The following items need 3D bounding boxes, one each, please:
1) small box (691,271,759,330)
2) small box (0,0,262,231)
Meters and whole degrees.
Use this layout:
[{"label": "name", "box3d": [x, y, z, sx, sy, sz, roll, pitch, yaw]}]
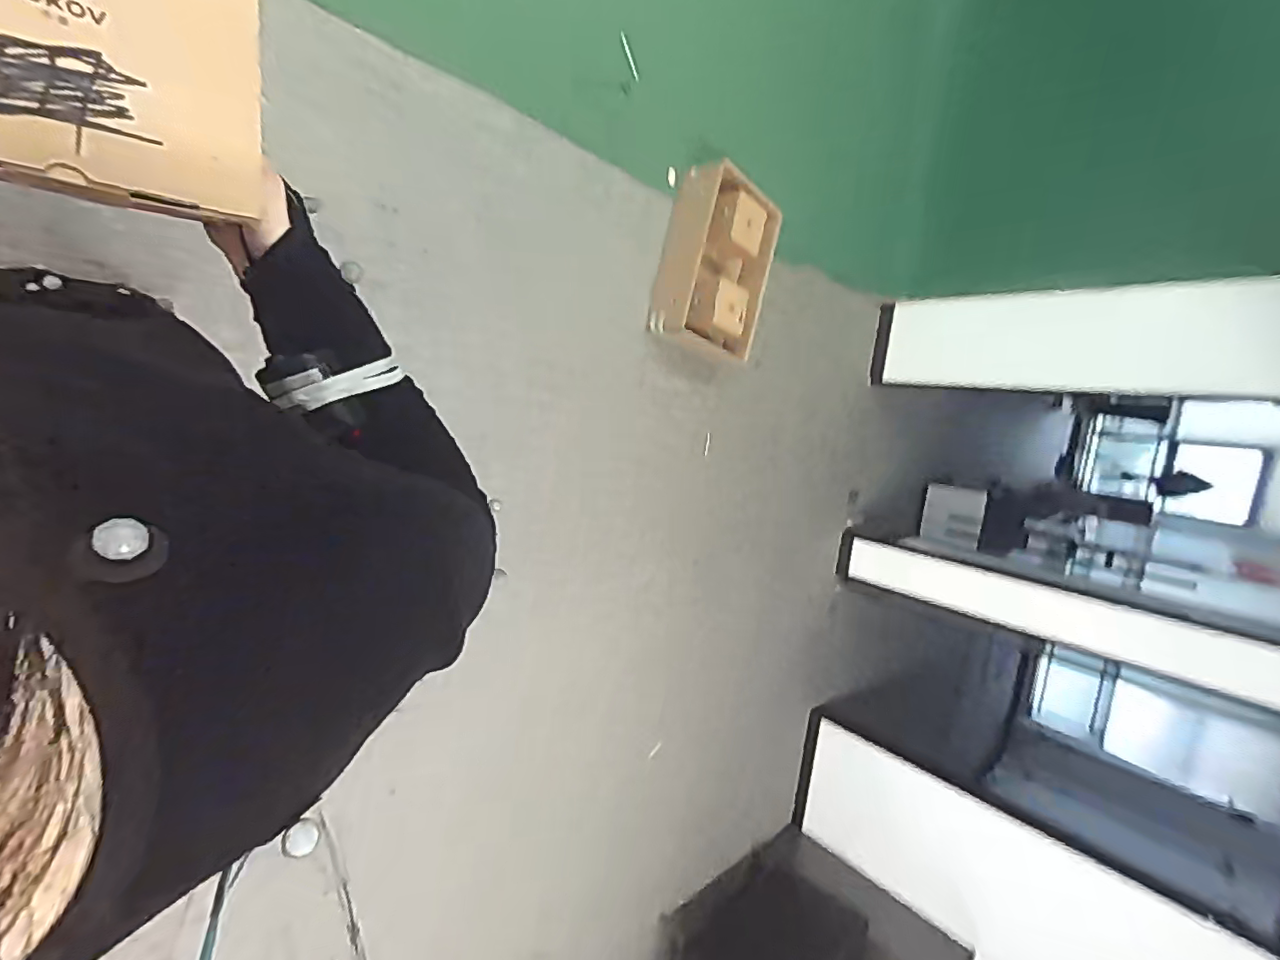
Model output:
[{"label": "small box", "box3d": [0.313, -0.660, 2.014, 0.179, 0.176, 0.168, 6, 96, -42]}, {"label": "small box", "box3d": [-0.325, -0.251, 0.298, 0.168, 0.176, 0.179, -7, 112, -46]}]
